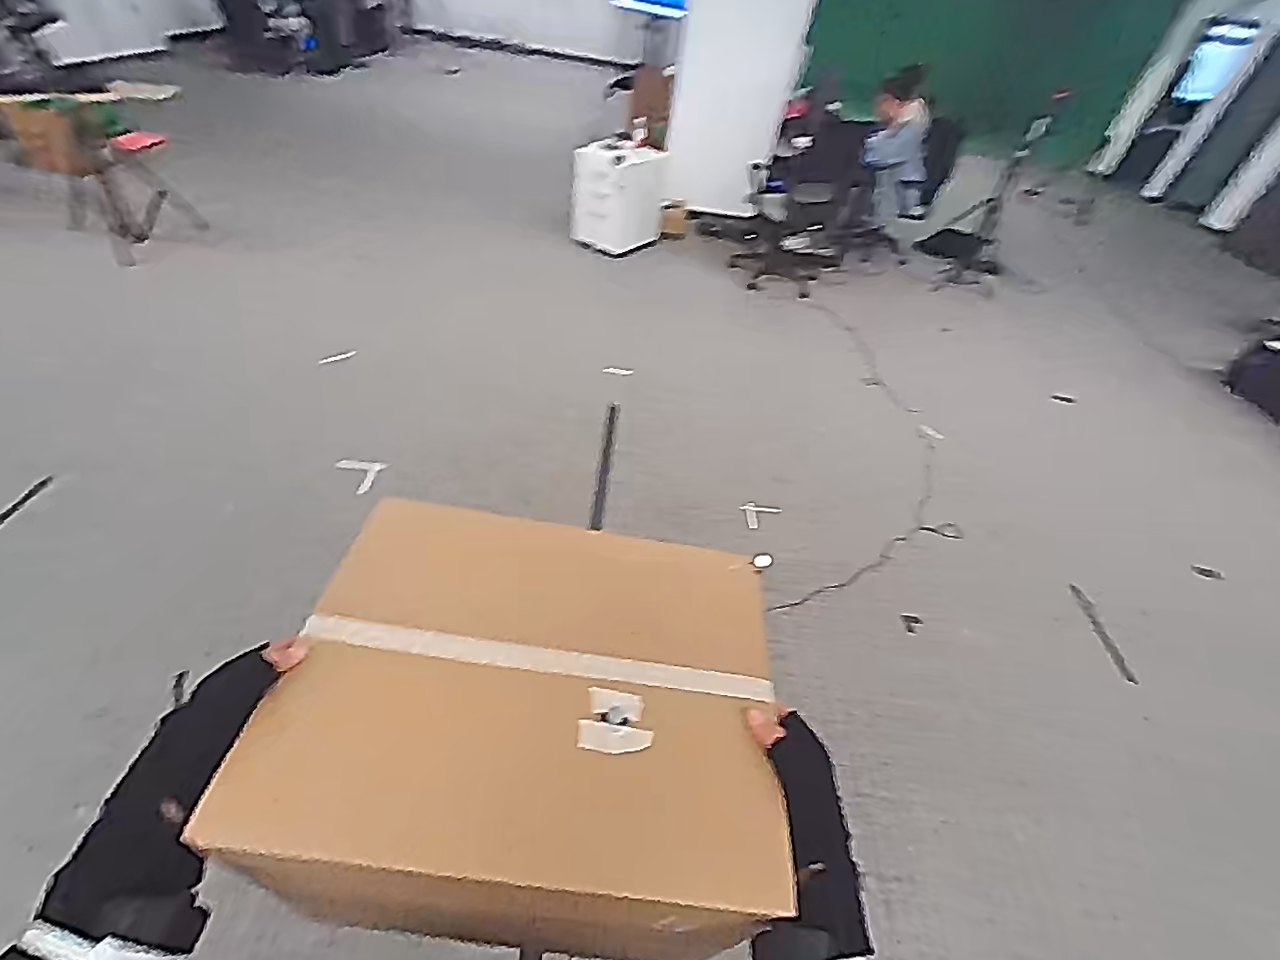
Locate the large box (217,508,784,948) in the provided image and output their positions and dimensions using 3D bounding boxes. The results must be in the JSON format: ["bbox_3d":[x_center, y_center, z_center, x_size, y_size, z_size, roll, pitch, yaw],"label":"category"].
[{"bbox_3d":[-0.108,0.269,0.582,0.408,0.320,0.320,10,43,-4],"label":"large box"}]
